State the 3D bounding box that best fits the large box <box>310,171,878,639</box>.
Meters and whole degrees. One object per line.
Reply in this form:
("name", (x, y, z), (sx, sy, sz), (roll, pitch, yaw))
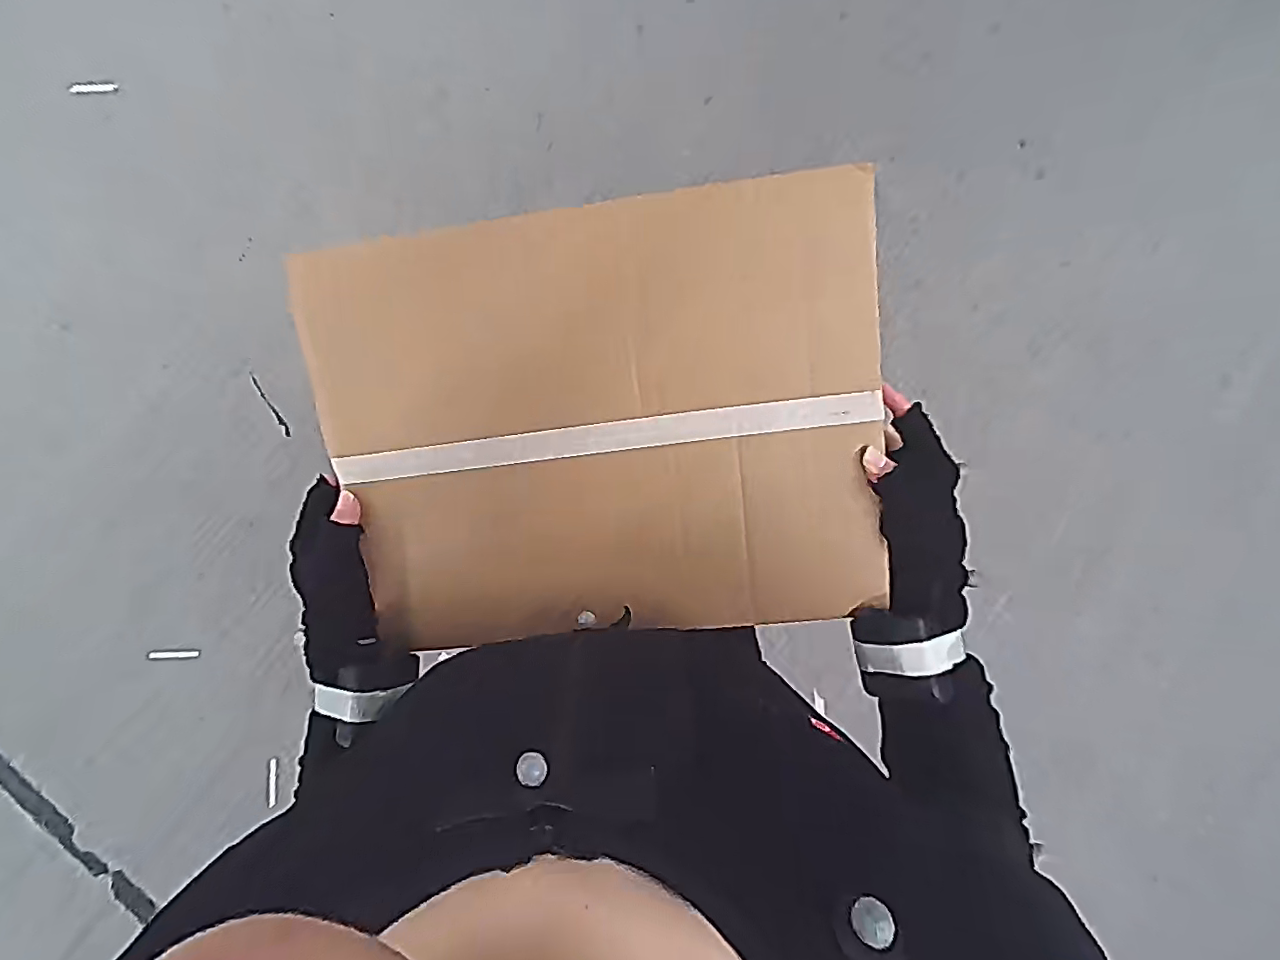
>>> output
("large box", (-0.021, -0.068, 0.554), (0.408, 0.320, 0.320), (-6, 104, 6))
